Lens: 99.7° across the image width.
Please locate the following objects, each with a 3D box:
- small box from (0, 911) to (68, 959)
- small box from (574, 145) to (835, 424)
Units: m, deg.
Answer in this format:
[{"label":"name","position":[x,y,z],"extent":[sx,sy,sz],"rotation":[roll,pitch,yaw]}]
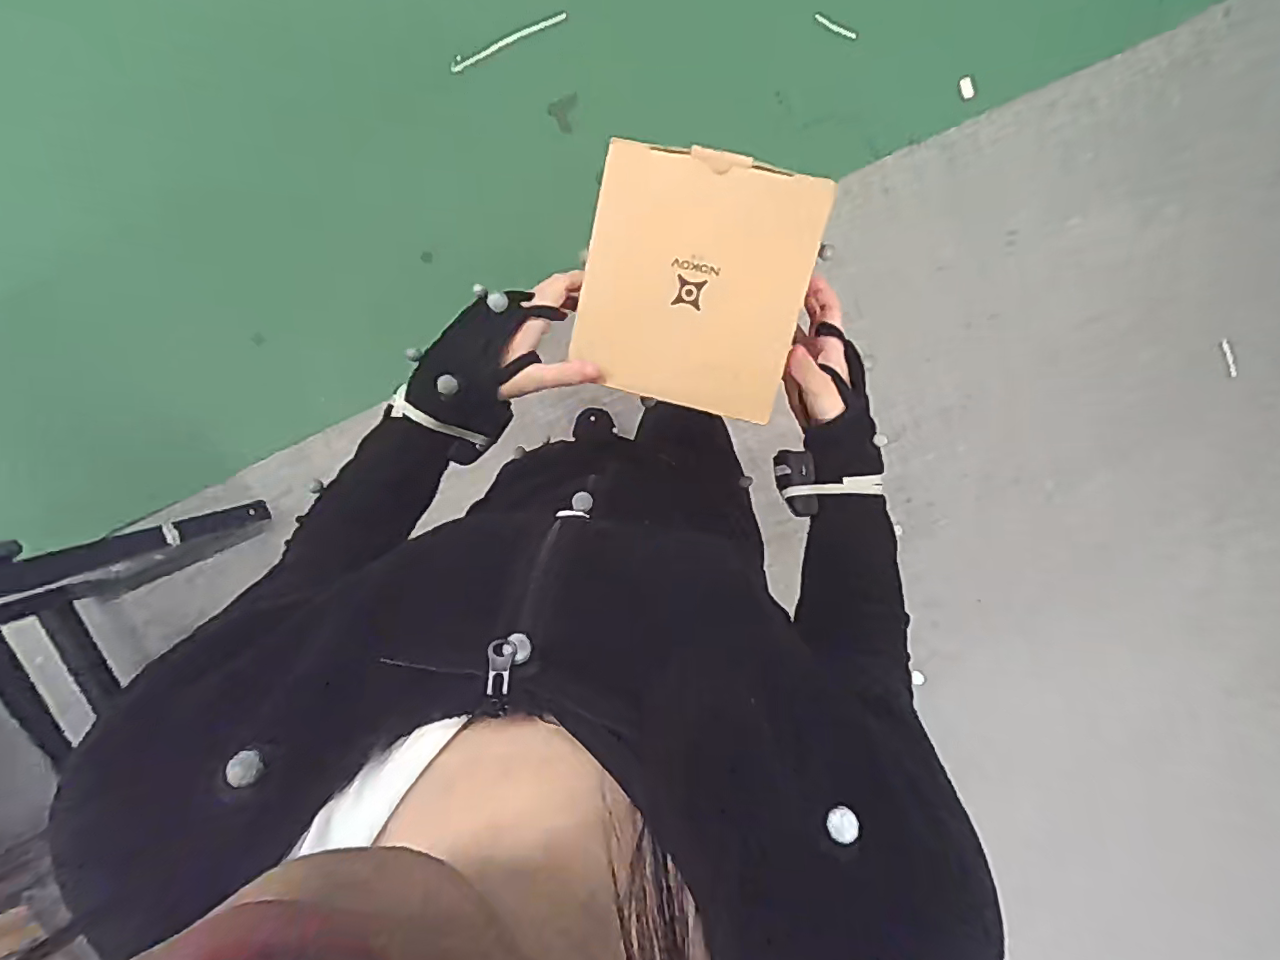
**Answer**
[{"label":"small box","position":[-0.968,0.766,0.755],"extent":[0.179,0.176,0.168],"rotation":[-25,97,3]},{"label":"small box","position":[0.055,-0.159,0.482],"extent":[0.168,0.176,0.179],"rotation":[14,102,7]}]
